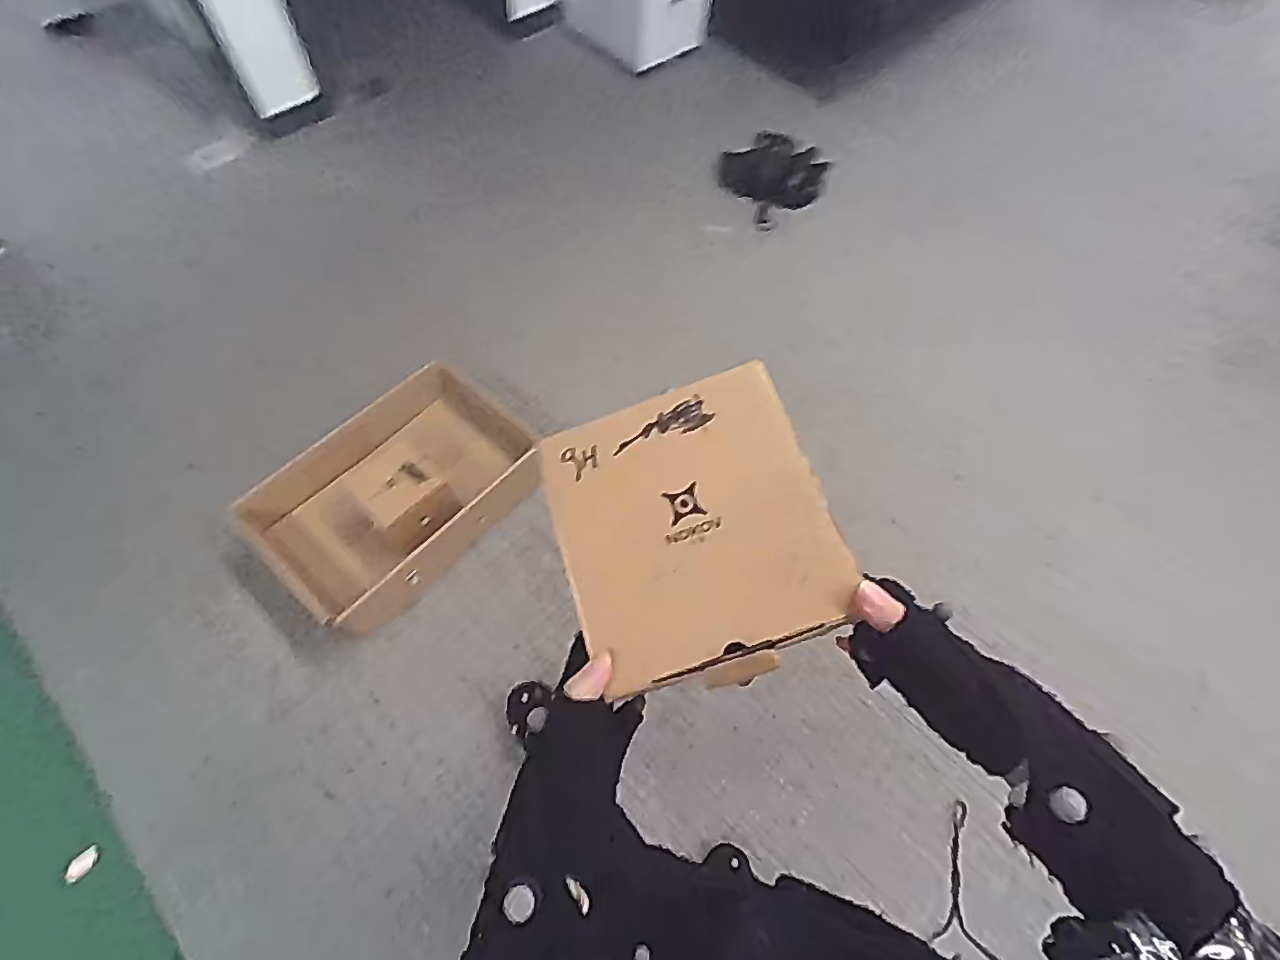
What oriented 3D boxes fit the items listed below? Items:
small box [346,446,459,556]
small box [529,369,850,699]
[{"bbox_3d":[-0.570,0.055,1.330,0.168,0.176,0.179,40,68,17],"label":"small box"},{"bbox_3d":[0.036,0.051,0.419,0.168,0.176,0.179,-20,69,3],"label":"small box"}]
